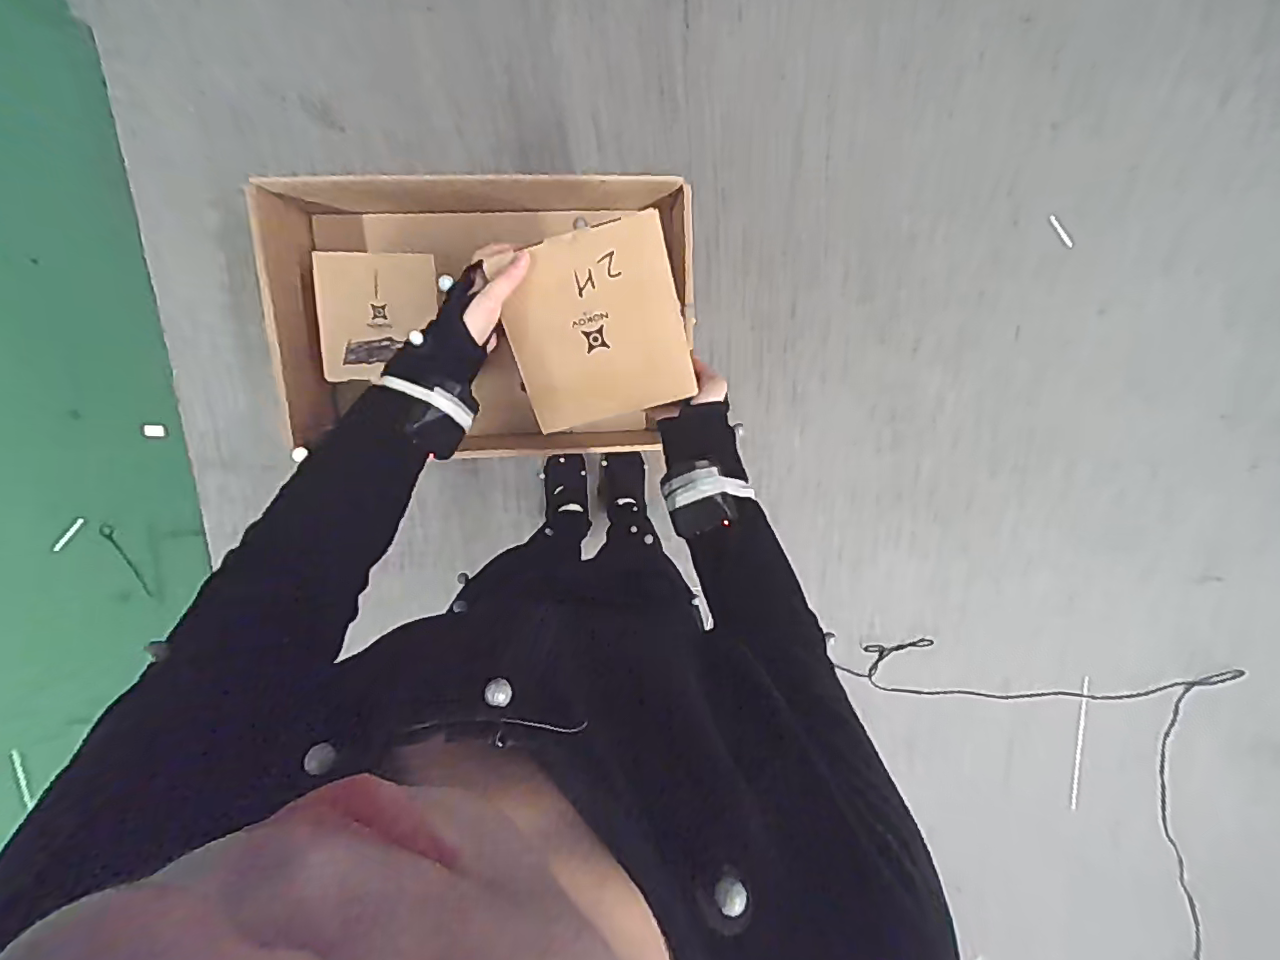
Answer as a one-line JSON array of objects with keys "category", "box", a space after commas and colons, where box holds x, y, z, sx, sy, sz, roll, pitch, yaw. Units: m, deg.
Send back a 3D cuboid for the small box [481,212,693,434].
[{"category": "small box", "box": [-0.042, -0.172, 0.581, 0.168, 0.176, 0.179, -13, 113, 8]}]
